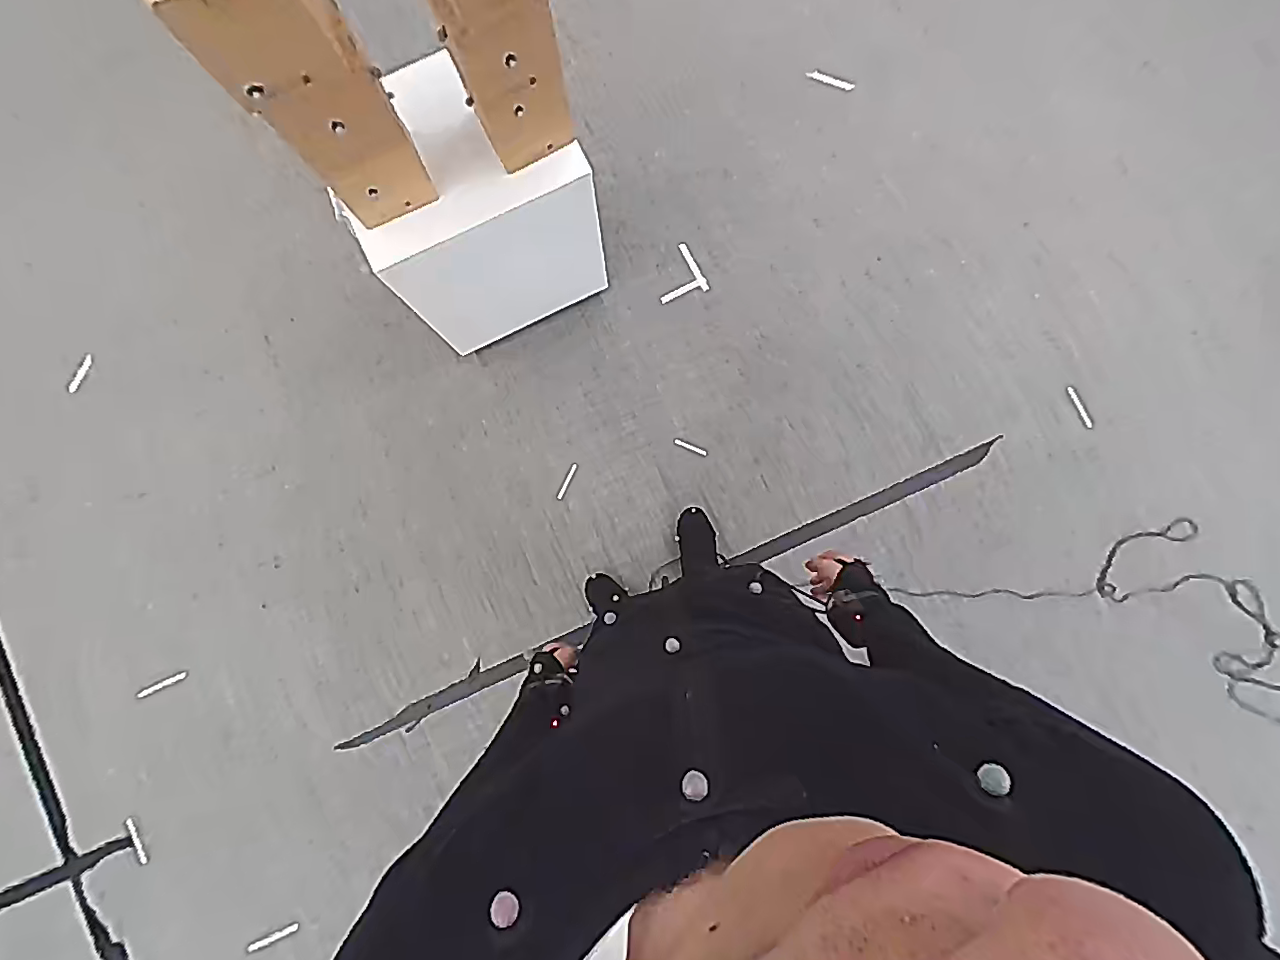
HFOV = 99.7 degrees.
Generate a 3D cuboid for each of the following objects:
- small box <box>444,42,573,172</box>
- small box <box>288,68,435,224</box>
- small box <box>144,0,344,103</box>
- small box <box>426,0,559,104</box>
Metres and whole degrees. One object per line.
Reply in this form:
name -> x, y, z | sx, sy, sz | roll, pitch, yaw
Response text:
small box -> -0.249, -0.760, 1.064 | 0.168, 0.176, 0.179 | -28, 85, 0
small box -> -0.531, -0.636, 1.059 | 0.168, 0.176, 0.179 | -25, 85, -2
small box -> -0.539, -0.657, 0.730 | 0.168, 0.176, 0.179 | -22, 84, -1
small box -> -0.252, -0.774, 0.900 | 0.168, 0.176, 0.179 | -27, 85, -1
